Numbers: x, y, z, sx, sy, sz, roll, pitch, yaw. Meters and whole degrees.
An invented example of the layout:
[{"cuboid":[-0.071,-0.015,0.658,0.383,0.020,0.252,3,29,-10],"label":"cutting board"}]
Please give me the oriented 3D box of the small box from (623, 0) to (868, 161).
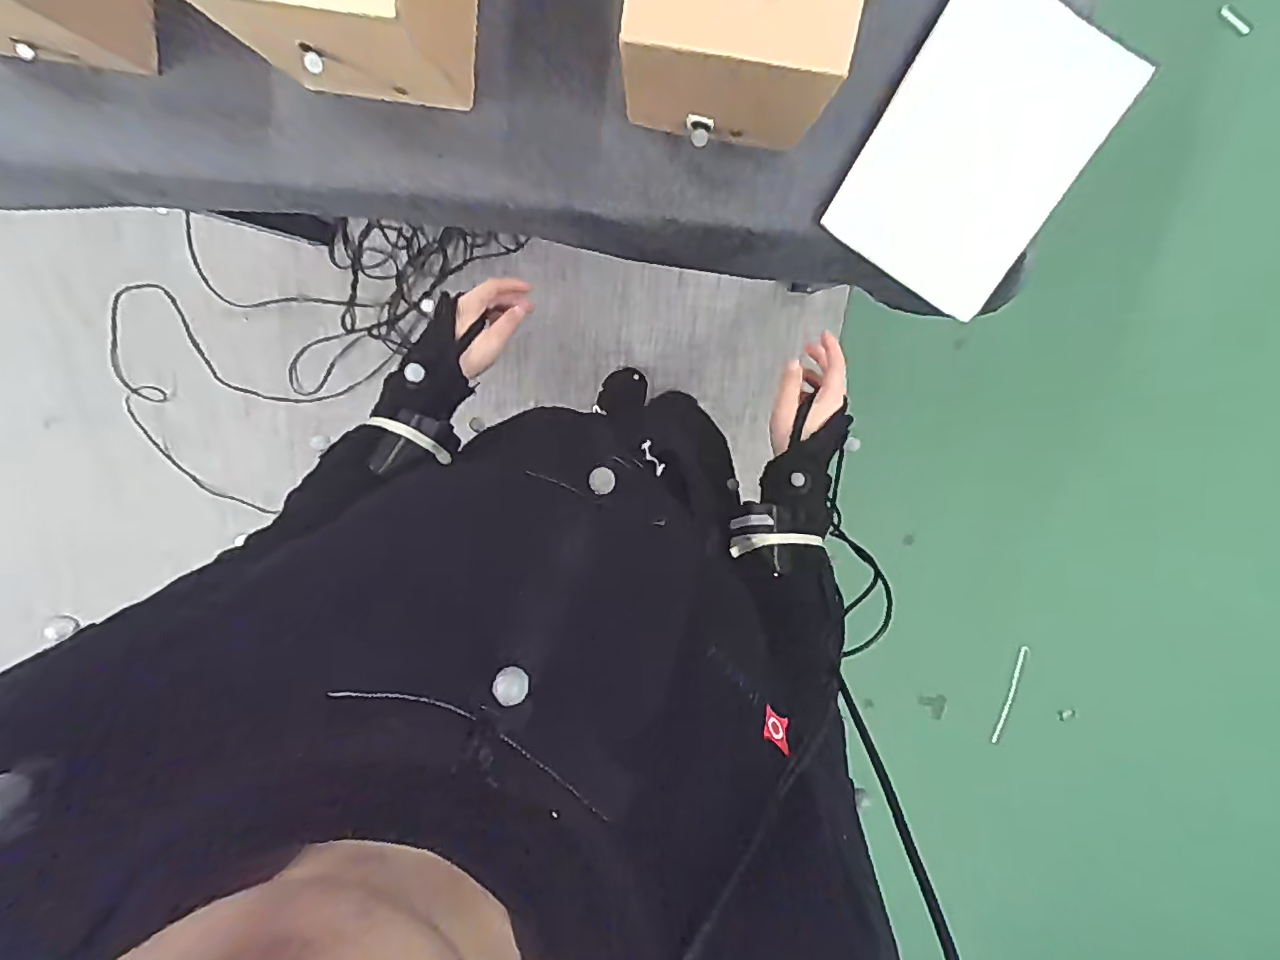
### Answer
[{"cuboid":[0.083,-0.390,0.436,0.168,0.176,0.179,9,105,0],"label":"small box"}]
